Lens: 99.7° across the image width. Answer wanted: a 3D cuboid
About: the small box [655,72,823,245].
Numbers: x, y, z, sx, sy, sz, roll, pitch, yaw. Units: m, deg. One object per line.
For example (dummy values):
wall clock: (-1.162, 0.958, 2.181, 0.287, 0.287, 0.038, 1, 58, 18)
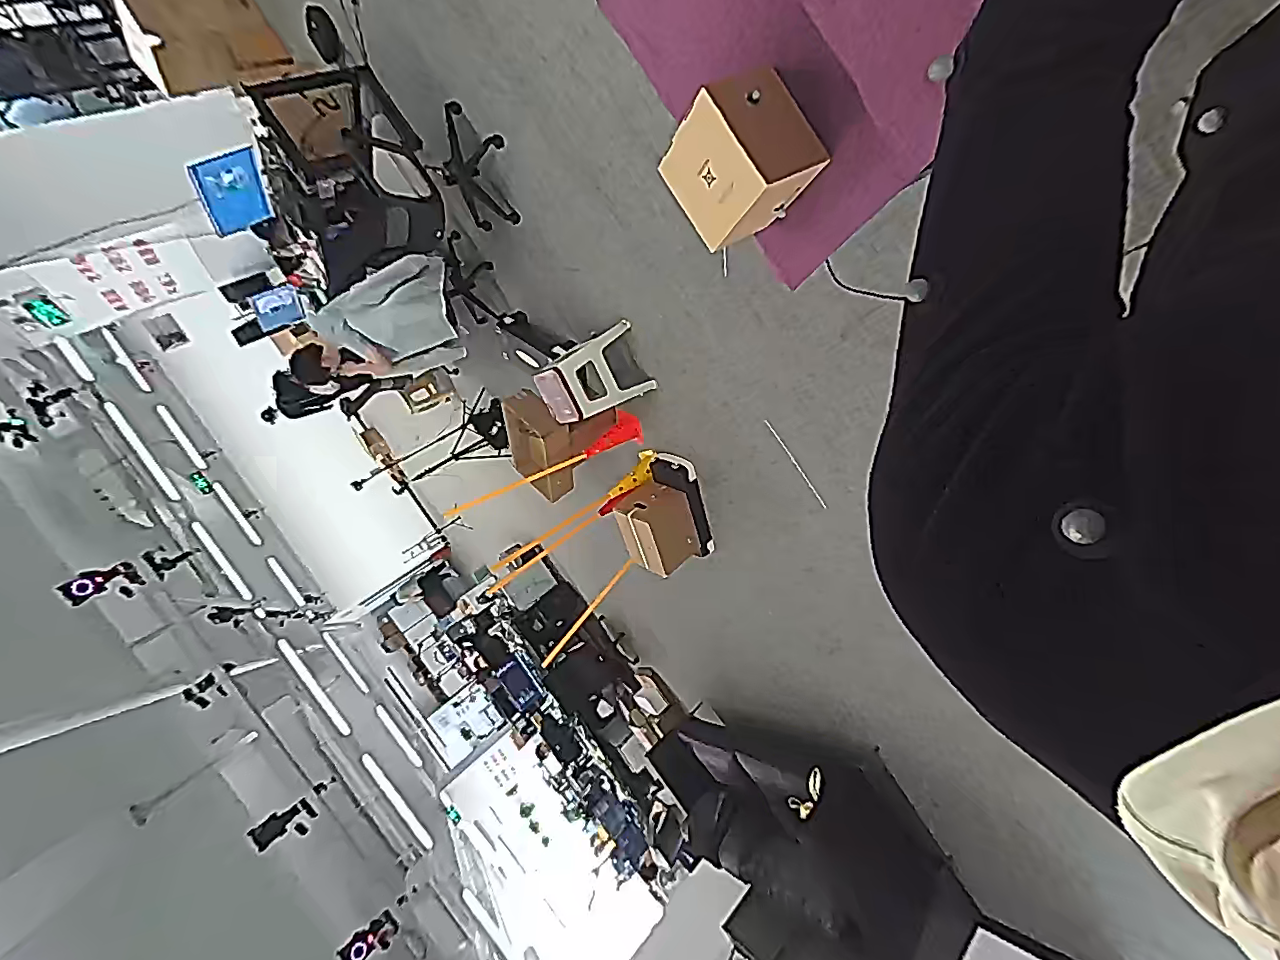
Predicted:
small box: (0.162, -0.533, 0.896, 0.179, 0.176, 0.168, 56, 154, -2)
